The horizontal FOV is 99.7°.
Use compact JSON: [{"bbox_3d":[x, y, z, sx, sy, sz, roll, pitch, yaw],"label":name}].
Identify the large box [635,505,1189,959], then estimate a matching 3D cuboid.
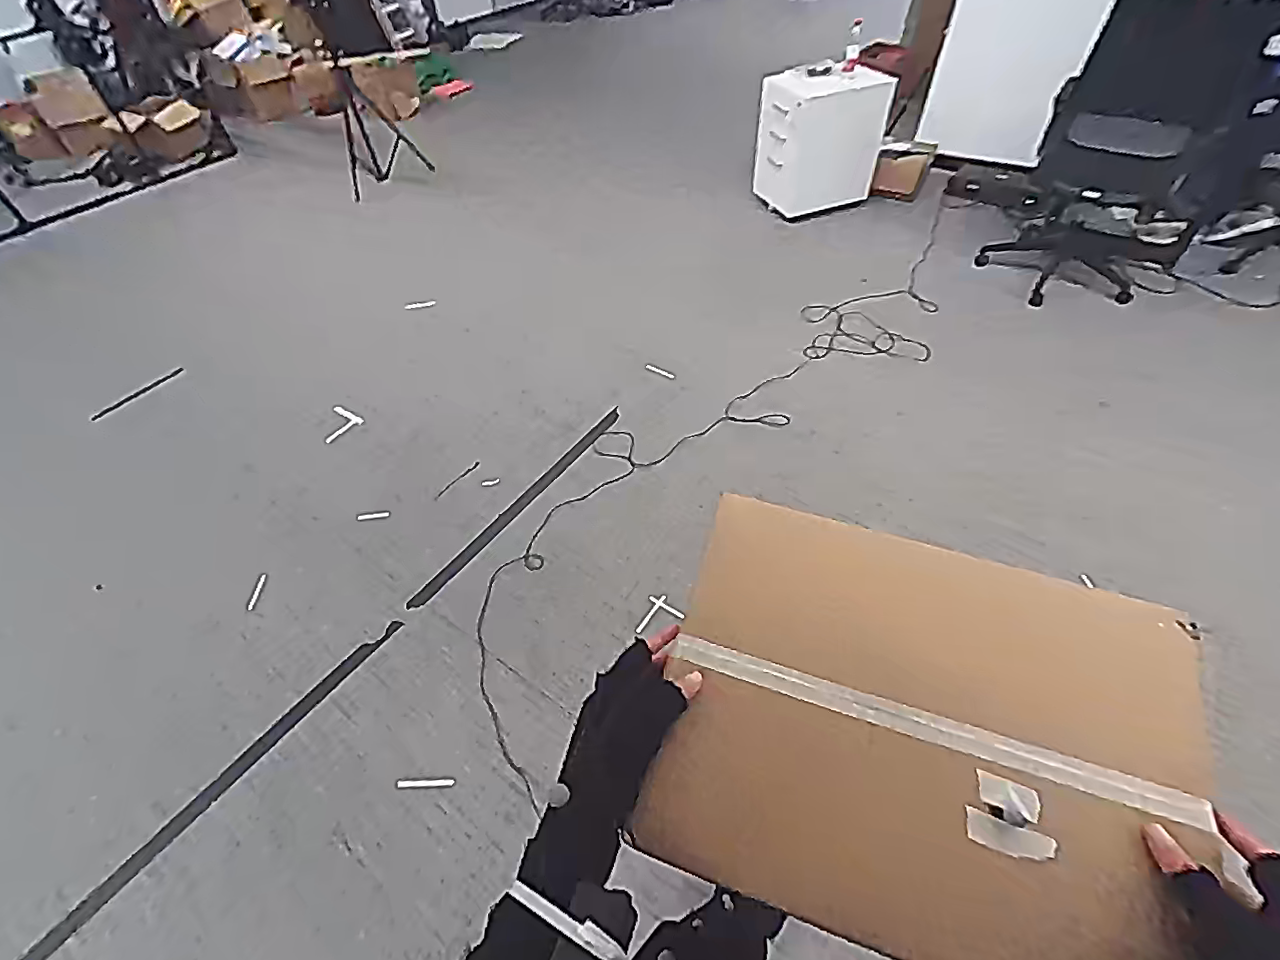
[{"bbox_3d":[0.236,0.267,0.591,0.408,0.320,0.320,15,67,12],"label":"large box"}]
